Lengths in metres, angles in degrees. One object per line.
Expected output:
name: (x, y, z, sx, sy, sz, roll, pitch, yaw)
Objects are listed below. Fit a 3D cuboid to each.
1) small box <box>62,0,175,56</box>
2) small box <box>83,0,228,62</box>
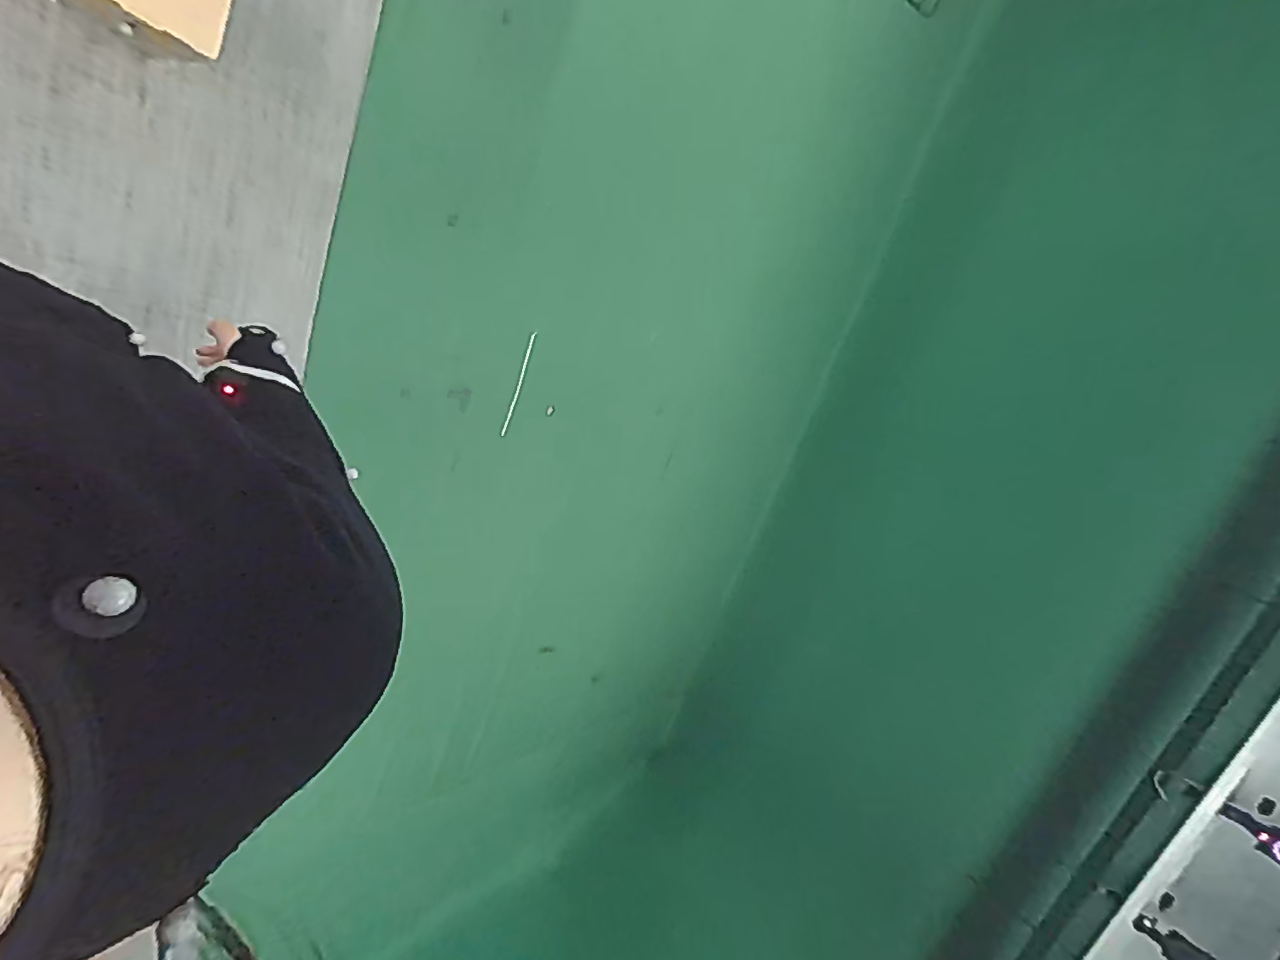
small box: (-0.820, -0.810, 0.850, 0.168, 0.176, 0.179, 16, 101, -55)
small box: (-0.701, -0.735, 0.761, 0.168, 0.176, 0.179, 9, 109, -56)
